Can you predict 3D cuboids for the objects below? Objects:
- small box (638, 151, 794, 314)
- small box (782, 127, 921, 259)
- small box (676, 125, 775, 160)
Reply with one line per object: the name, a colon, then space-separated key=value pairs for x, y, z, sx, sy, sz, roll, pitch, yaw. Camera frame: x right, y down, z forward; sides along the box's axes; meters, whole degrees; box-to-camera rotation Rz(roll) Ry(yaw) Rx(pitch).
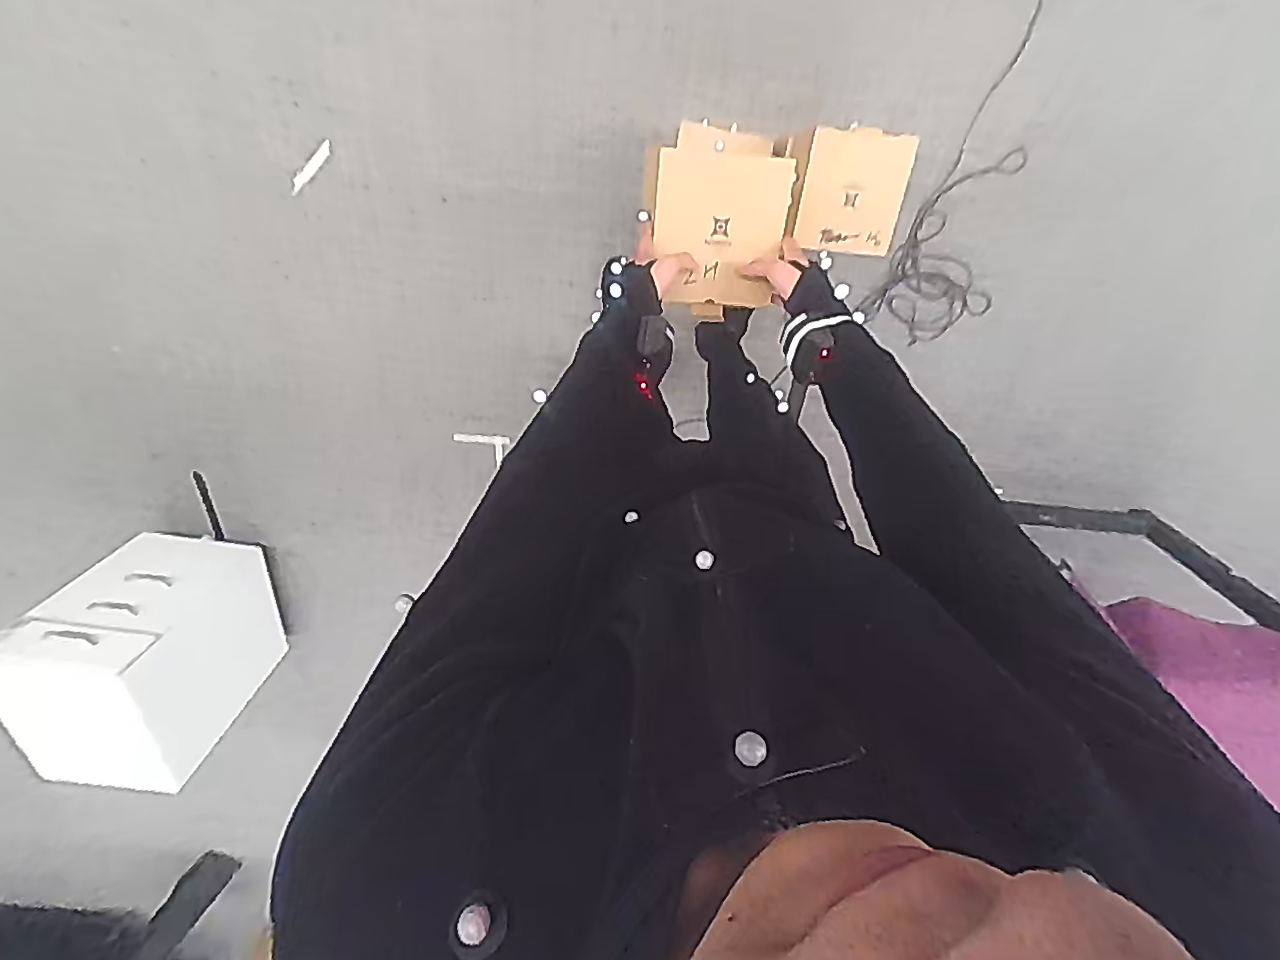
small box: x=0.088 y=-0.338 z=0.735 sx=0.168 sy=0.176 sz=0.179 roll=1 pitch=121 yaw=-6
small box: x=0.347 y=-0.493 z=0.936 sx=0.168 sy=0.176 sz=0.179 roll=6 pitch=119 yaw=1
small box: x=0.150 y=-0.593 z=1.079 sx=0.179 sy=0.176 sz=0.168 roll=11 pitch=120 yaw=-2
